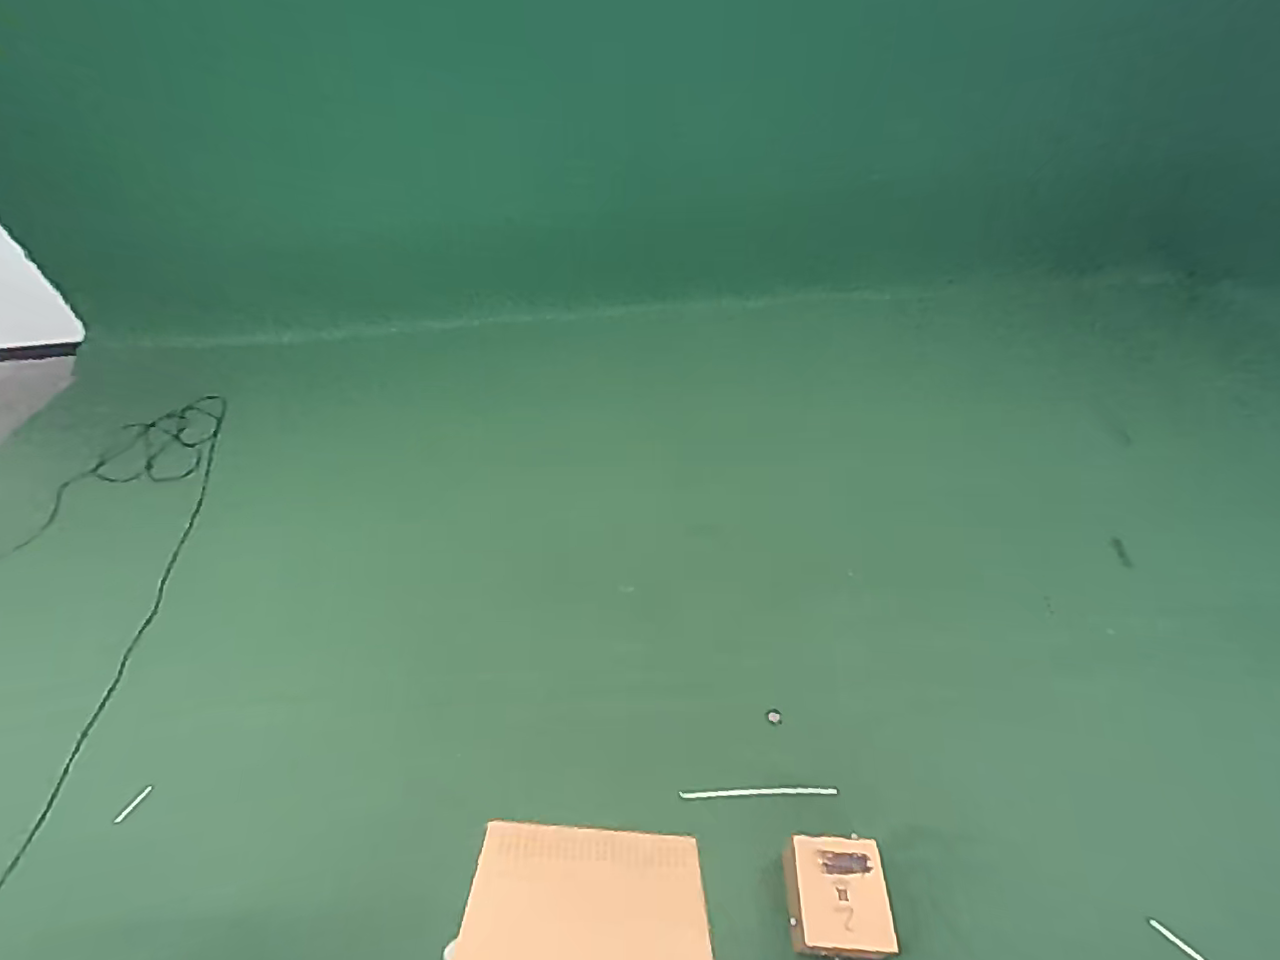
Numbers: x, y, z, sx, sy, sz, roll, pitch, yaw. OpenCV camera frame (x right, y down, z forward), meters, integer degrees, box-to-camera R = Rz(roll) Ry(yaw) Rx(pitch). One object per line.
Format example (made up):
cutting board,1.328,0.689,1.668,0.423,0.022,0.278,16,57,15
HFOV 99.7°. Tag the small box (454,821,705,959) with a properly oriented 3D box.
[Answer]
small box,-0.049,0.385,0.392,0.179,0.168,0.176,8,16,-3
